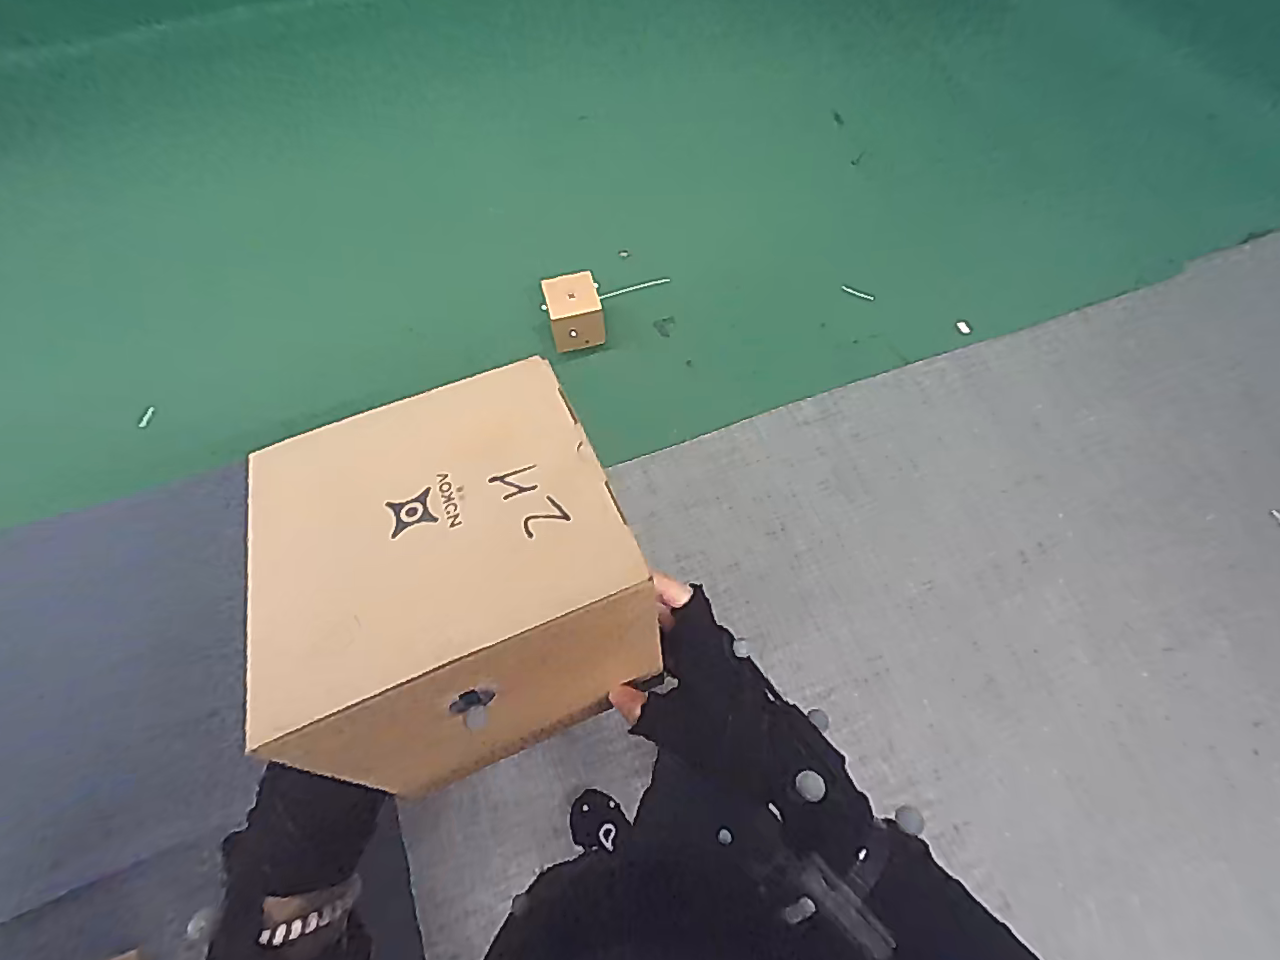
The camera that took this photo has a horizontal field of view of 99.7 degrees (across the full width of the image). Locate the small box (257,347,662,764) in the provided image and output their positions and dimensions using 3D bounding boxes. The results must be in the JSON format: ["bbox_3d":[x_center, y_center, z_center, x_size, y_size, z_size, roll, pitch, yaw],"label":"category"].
[{"bbox_3d":[-0.096,0.052,0.339,0.179,0.176,0.168,-20,55,-10],"label":"small box"}]

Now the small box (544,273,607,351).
[{"bbox_3d":[-0.212,-0.551,1.800,0.168,0.176,0.179,-14,64,-6],"label":"small box"}]
